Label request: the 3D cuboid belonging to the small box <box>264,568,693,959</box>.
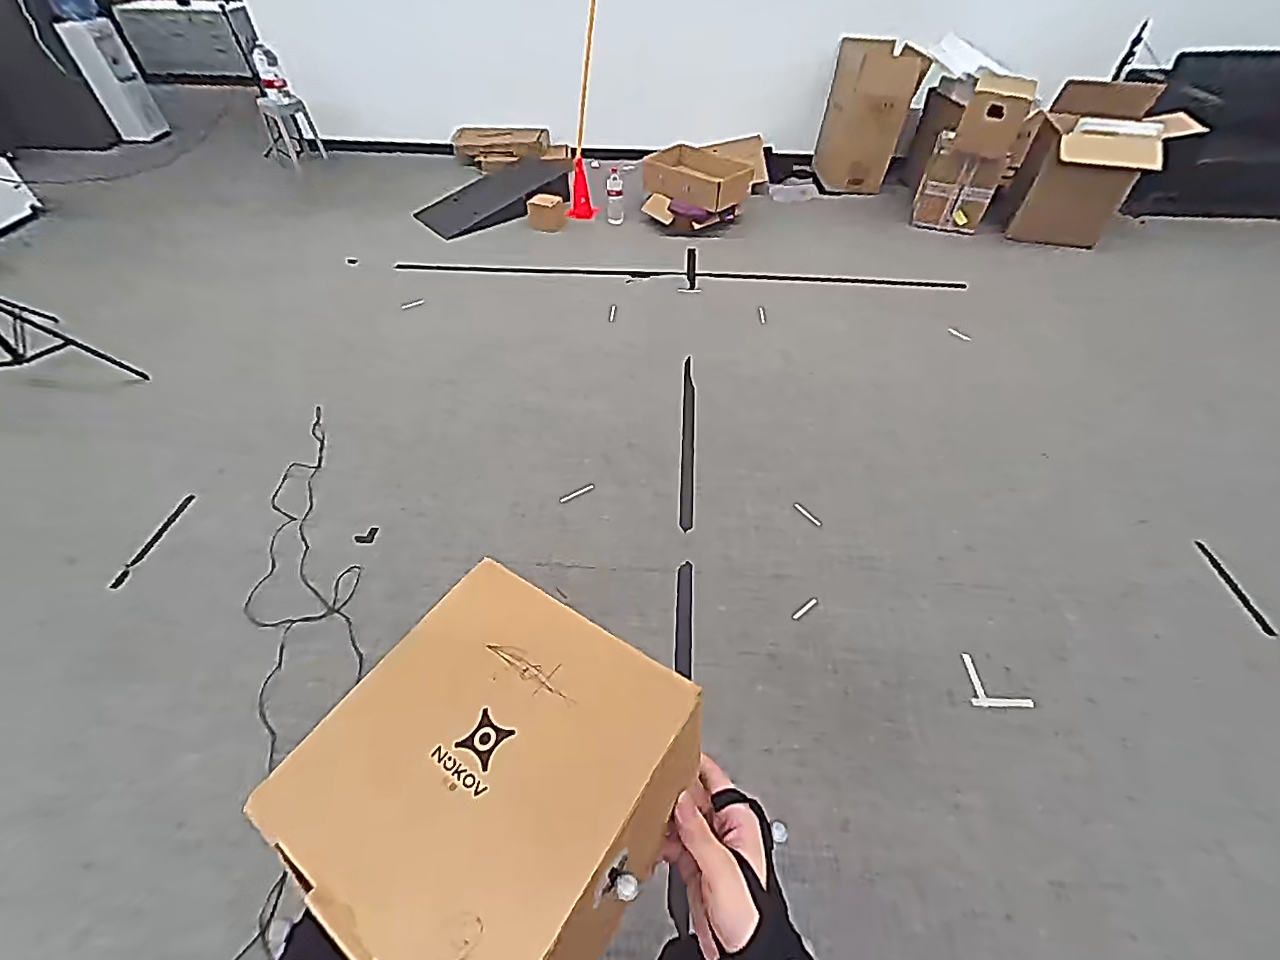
[{"bbox_3d":[-0.076,0.198,0.348,0.168,0.176,0.179,24,54,24],"label":"small box"}]
